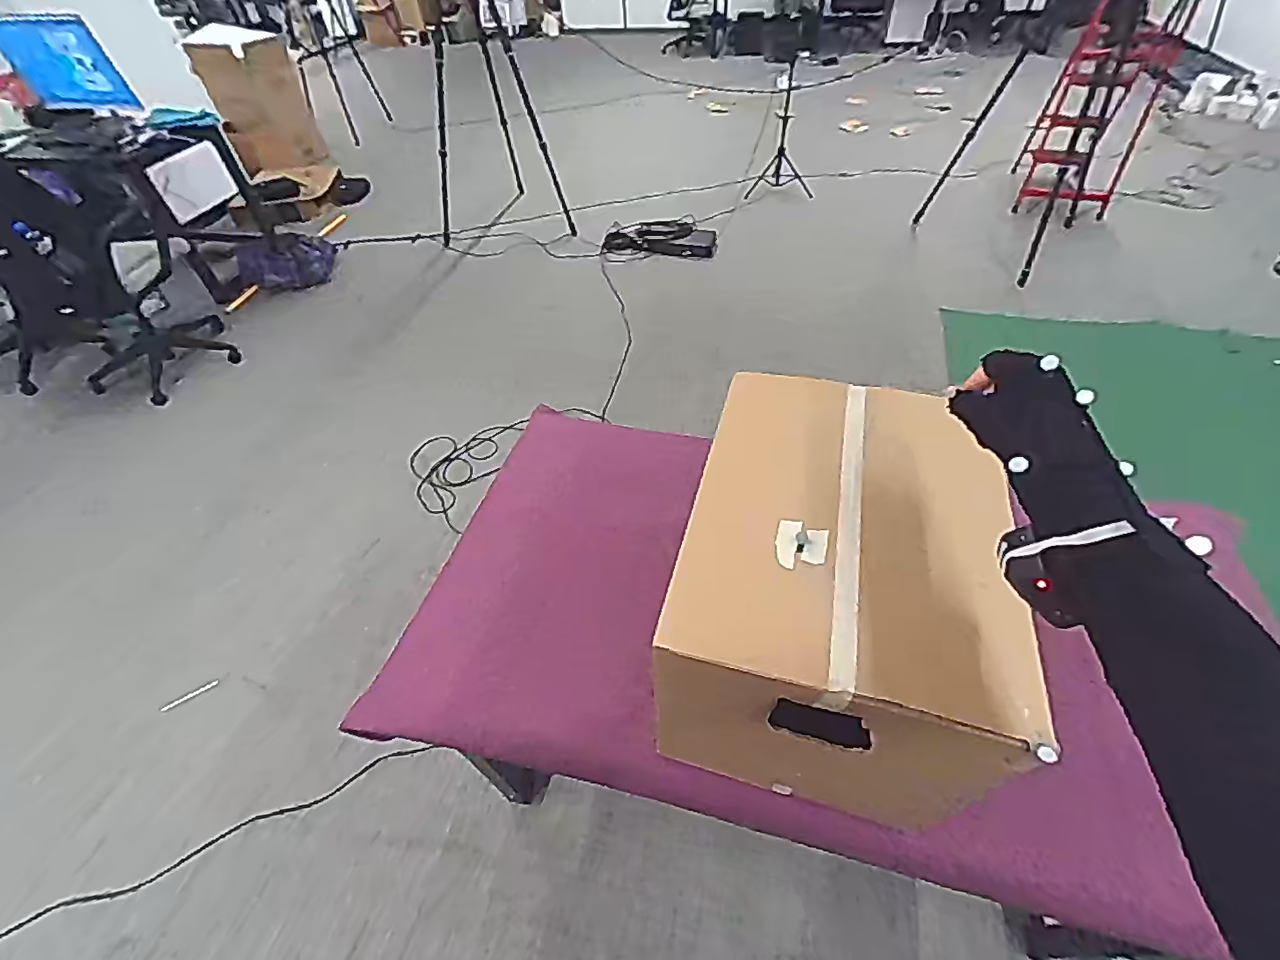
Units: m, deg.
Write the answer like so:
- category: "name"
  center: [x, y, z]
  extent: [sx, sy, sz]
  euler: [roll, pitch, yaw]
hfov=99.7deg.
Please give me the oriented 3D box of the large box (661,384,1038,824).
- category: "large box"
  center: [0.222, 0.140, 0.685]
  extent: [0.320, 0.320, 0.408]
  euler: [11, 50, 13]
